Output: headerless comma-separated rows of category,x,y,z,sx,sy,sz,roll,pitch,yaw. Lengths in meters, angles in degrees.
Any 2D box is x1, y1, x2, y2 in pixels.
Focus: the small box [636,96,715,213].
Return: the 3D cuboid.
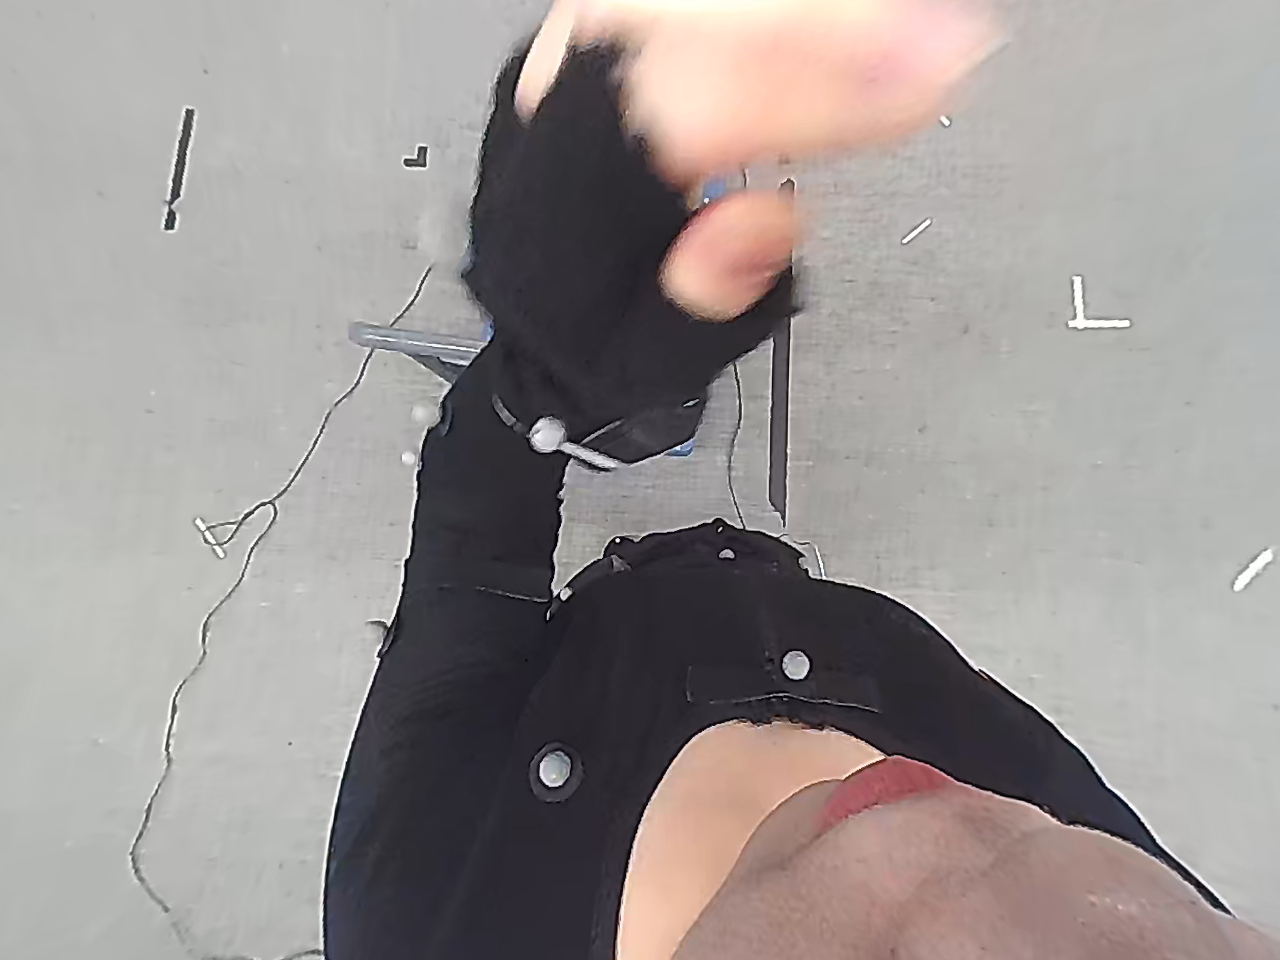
small box,0.083,-0.807,1.351,0.168,0.176,0.179,9,85,1
